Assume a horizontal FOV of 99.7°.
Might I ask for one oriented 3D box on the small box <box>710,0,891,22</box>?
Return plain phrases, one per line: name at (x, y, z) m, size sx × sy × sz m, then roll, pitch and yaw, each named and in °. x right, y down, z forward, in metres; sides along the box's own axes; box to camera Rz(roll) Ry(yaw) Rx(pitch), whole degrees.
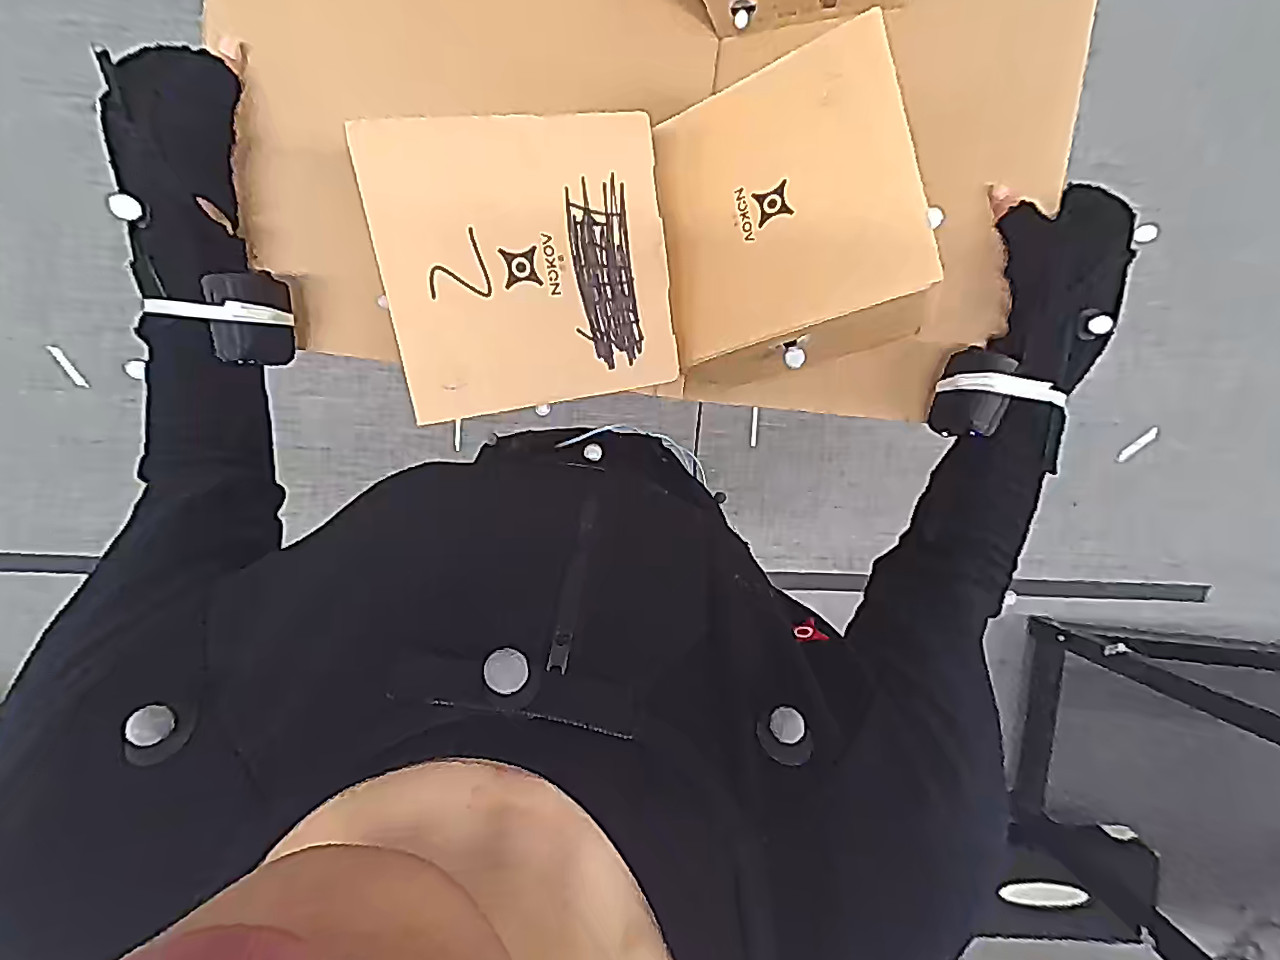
small box at (0.125, -0.488, 0.400) m, size 0.168 × 0.176 × 0.179 m, roll 11°, pitch 96°, yaw 24°
